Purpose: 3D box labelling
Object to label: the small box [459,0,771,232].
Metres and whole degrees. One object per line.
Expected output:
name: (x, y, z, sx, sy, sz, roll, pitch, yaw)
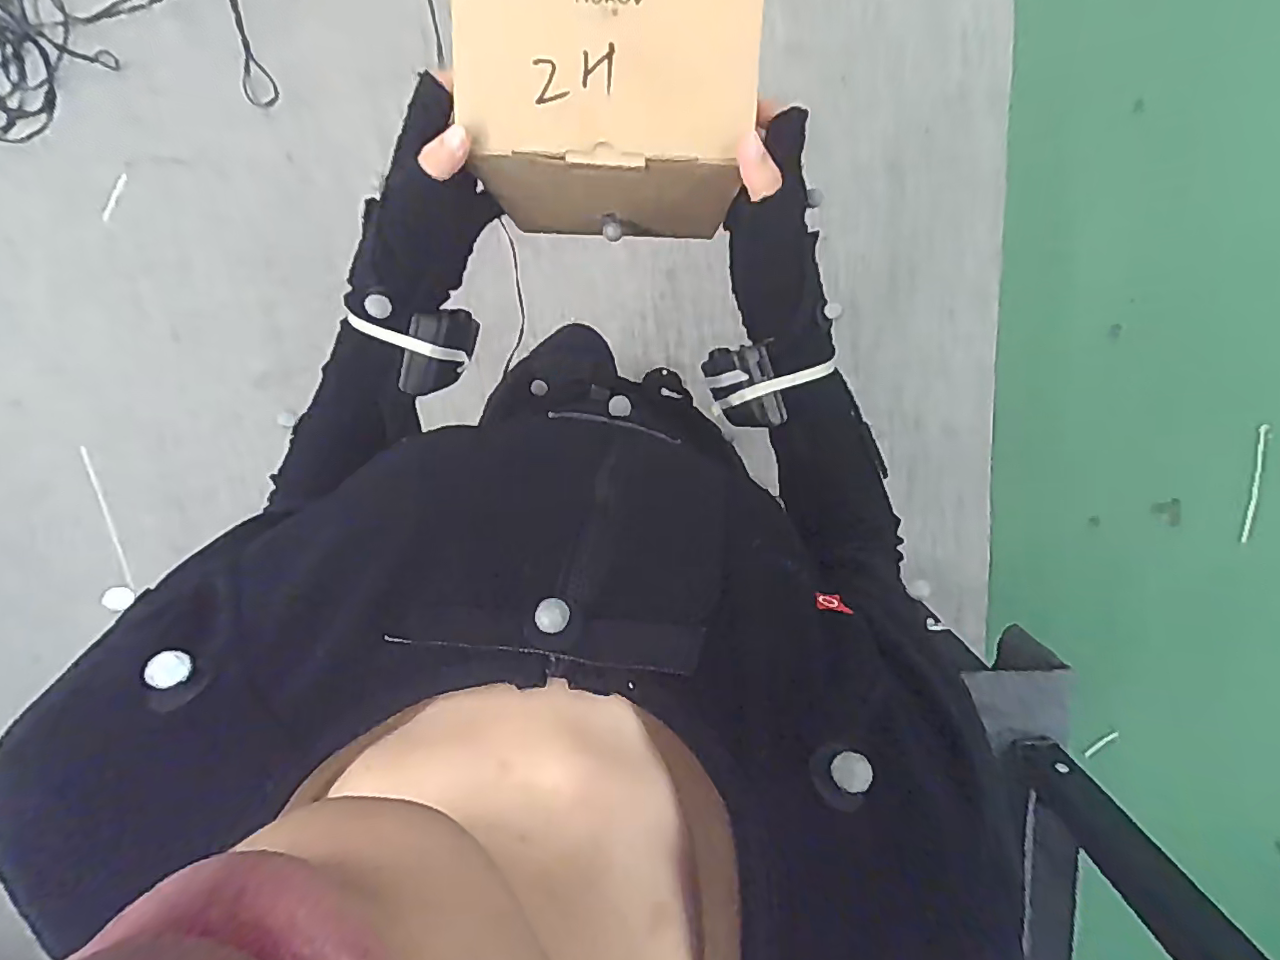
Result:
small box: (-0.012, -0.284, 0.359, 0.168, 0.176, 0.179, 2, 100, 0)
